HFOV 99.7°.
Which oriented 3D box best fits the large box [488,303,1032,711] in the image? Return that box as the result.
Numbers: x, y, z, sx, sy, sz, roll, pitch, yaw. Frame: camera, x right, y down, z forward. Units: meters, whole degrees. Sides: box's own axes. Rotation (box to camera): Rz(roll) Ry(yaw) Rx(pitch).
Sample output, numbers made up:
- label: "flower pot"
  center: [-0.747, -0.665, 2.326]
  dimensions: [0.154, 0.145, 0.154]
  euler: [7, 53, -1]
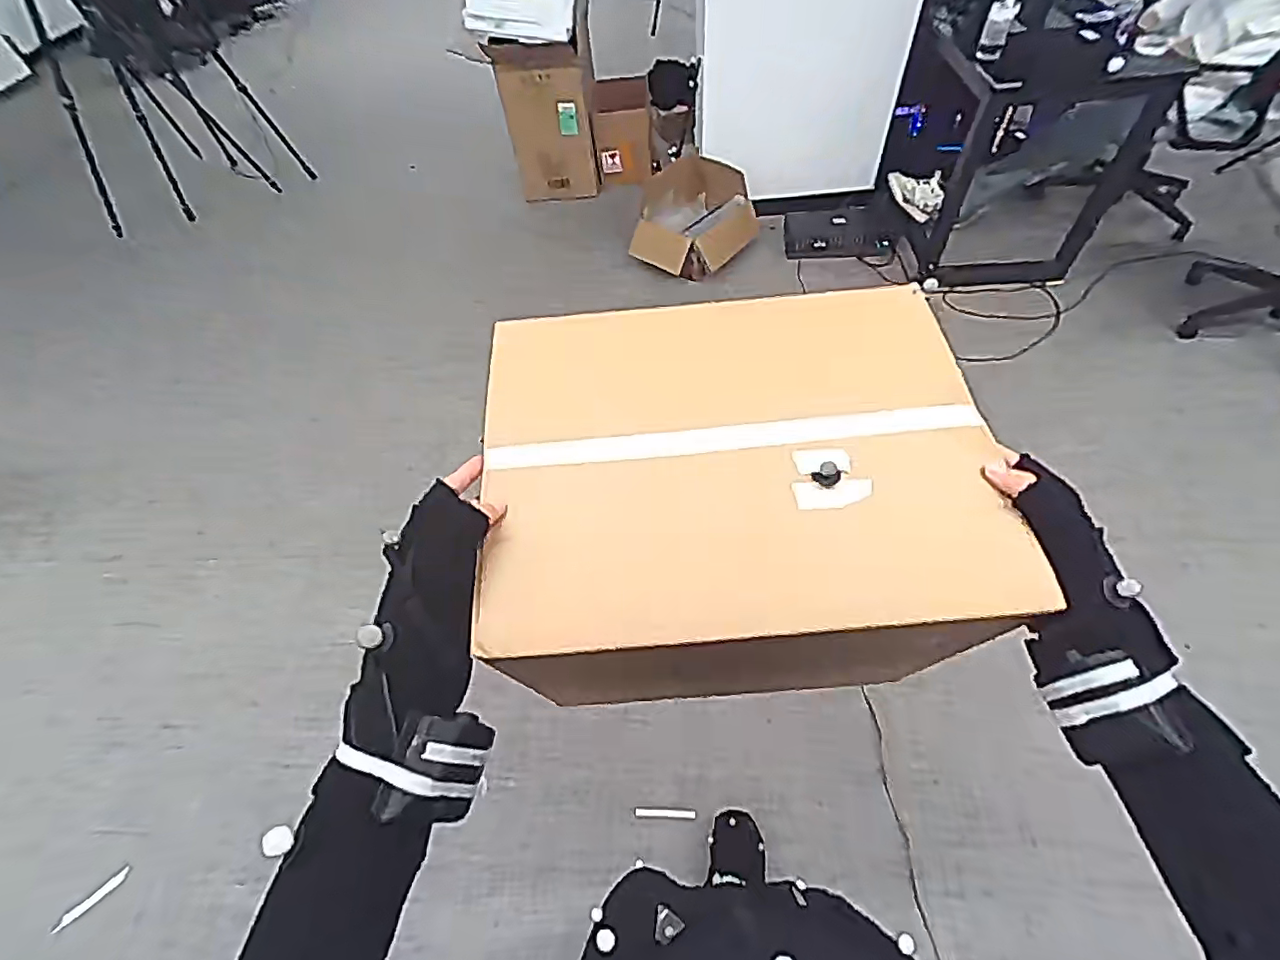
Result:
- label: "large box"
  center: [0.080, 0.049, 0.589]
  dimensions: [0.408, 0.320, 0.320]
  euler: [-5, 61, 0]
